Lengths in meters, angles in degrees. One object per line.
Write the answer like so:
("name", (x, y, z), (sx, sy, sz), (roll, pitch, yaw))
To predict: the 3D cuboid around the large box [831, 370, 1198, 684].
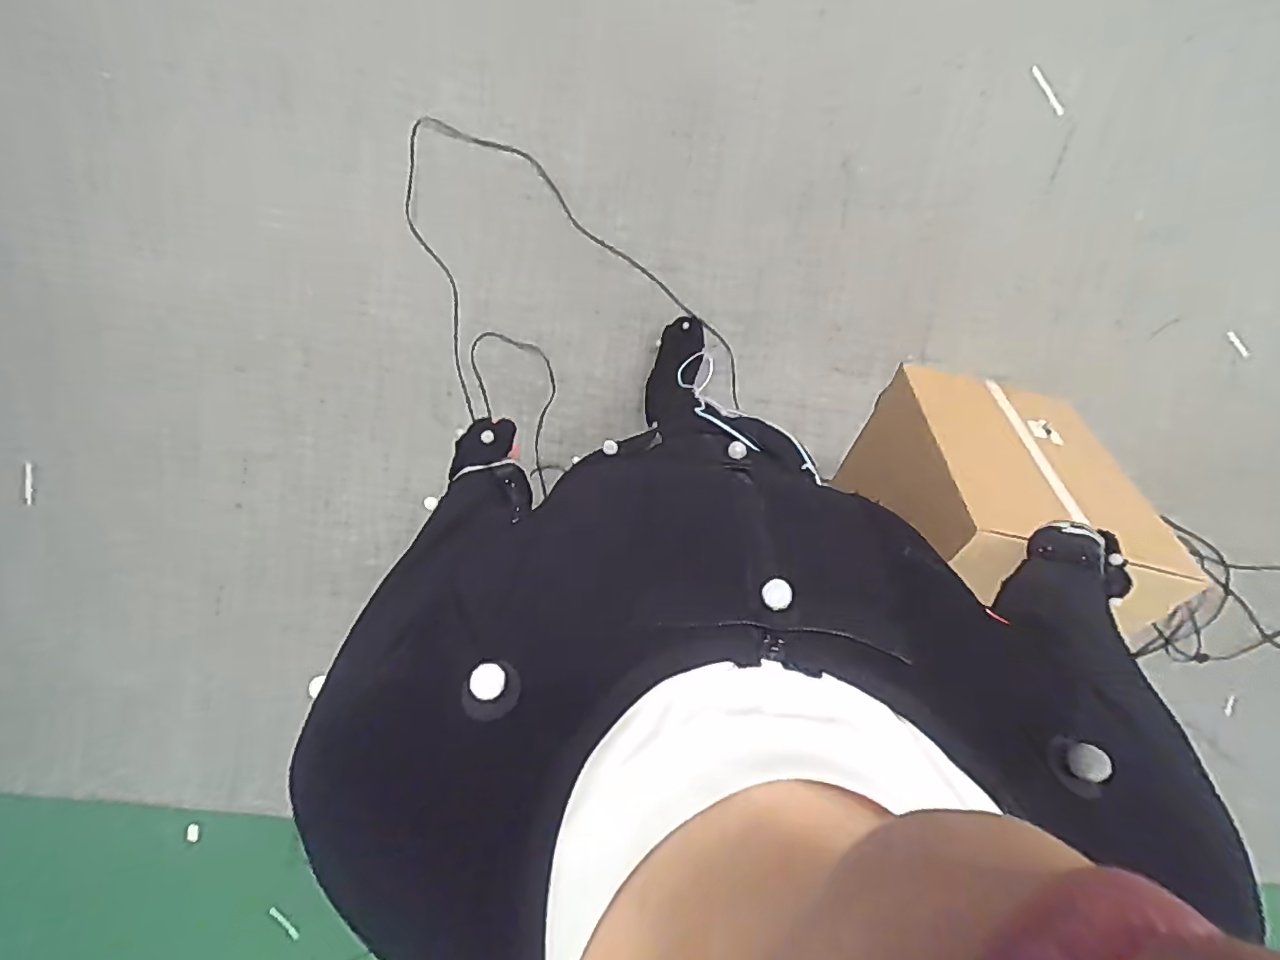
("large box", (0.557, 0.072, 0.924), (0.320, 0.408, 0.320), (13, 132, -2))
